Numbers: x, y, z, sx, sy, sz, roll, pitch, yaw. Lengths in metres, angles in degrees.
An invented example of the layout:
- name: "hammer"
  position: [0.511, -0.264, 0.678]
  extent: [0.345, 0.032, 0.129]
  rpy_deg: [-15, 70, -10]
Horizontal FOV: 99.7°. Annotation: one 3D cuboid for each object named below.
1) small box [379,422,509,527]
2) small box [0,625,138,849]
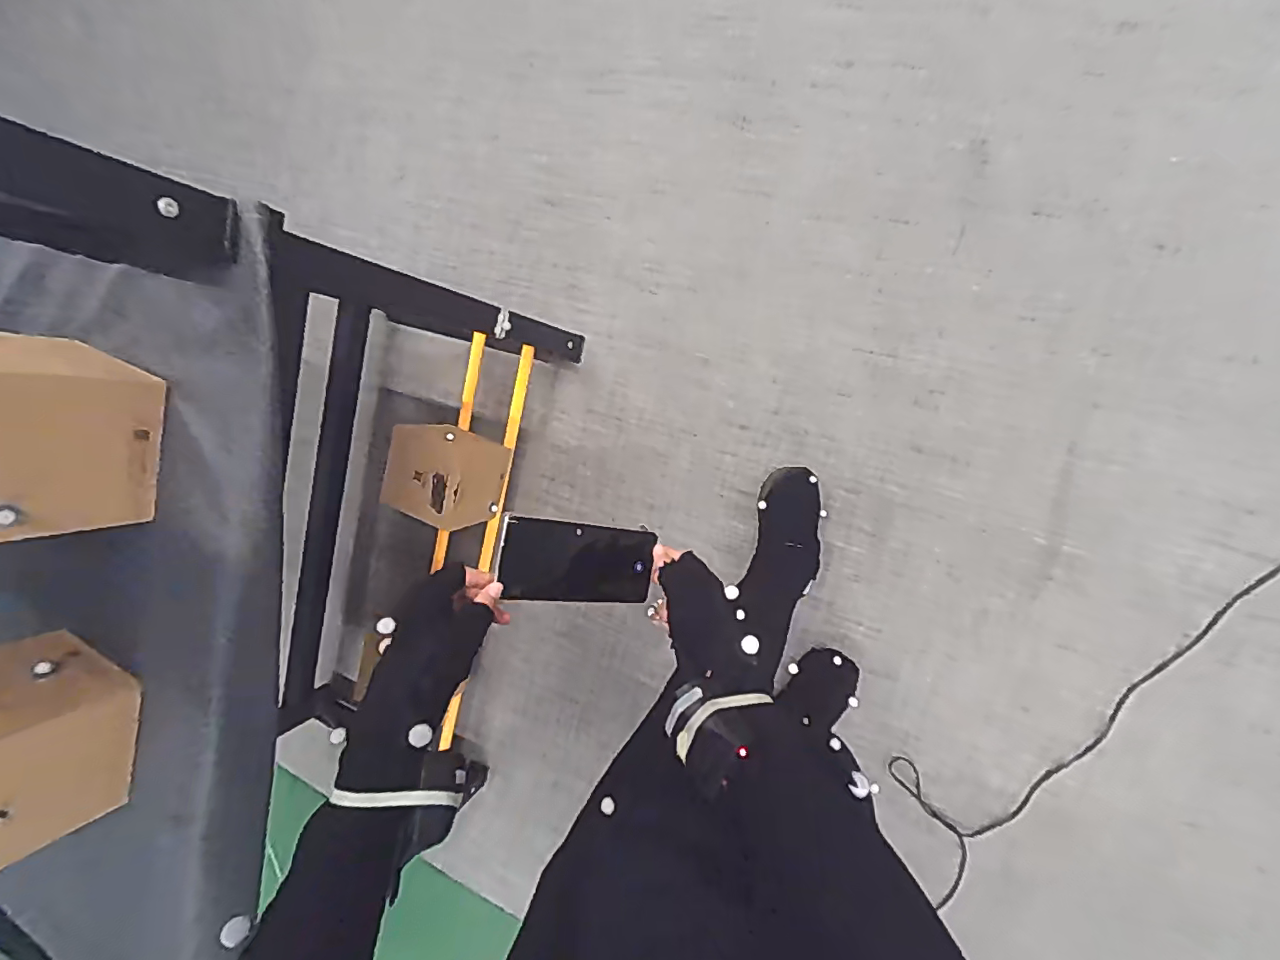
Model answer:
- name: "small box"
  position: [-0.403, -0.020, 1.133]
  extent: [0.179, 0.176, 0.168]
  rpy_deg: [21, 102, 16]
- name: "small box"
  position: [-0.723, 0.297, 0.614]
  extent: [0.168, 0.176, 0.179]
  rpy_deg: [21, 102, 16]
